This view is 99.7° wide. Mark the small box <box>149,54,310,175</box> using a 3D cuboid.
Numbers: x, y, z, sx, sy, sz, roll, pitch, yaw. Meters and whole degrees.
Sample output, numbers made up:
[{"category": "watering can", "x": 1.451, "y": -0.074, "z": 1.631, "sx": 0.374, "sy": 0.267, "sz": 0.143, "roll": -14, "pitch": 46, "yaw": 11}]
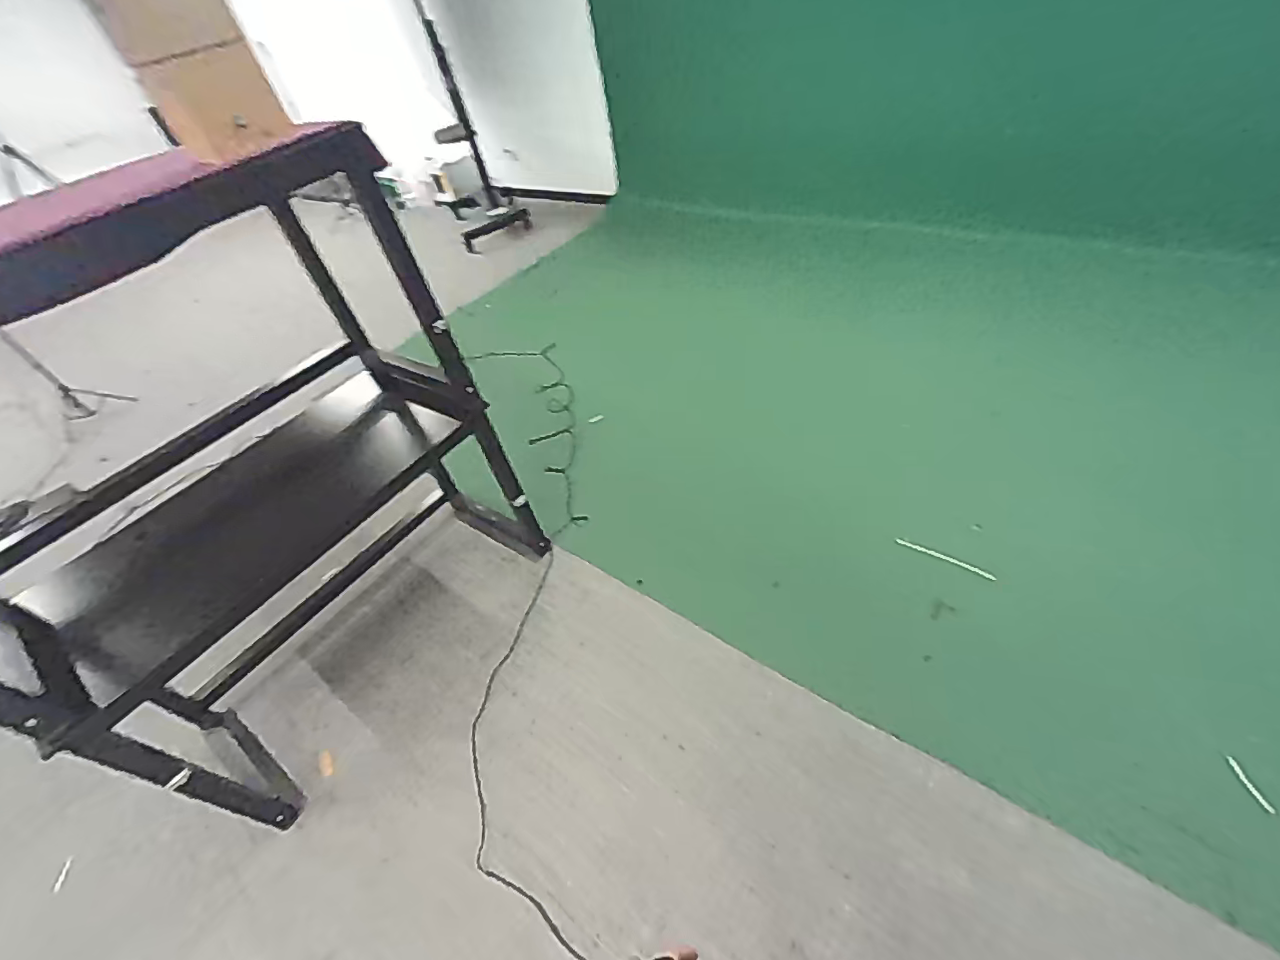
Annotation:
[{"category": "small box", "x": -0.820, "y": -0.733, "z": 1.092, "sx": 0.179, "sy": 0.176, "sz": 0.168, "roll": 23, "pitch": 55, "yaw": 31}]

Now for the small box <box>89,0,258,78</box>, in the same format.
[{"category": "small box", "x": -0.846, "y": -0.842, "z": 0.970, "sx": 0.168, "sy": 0.176, "sz": 0.179, "roll": 23, "pitch": 55, "yaw": 31}]
